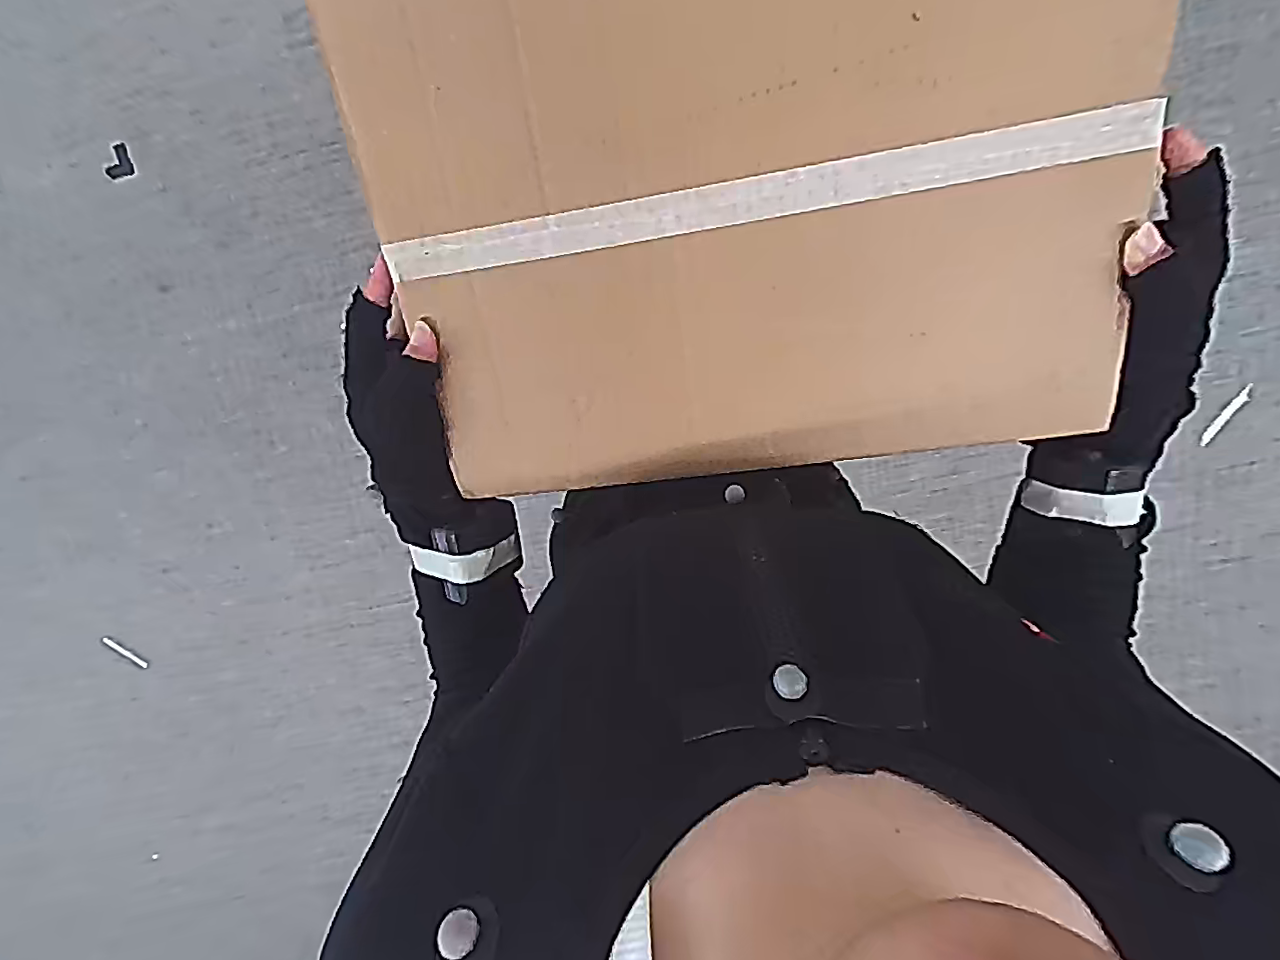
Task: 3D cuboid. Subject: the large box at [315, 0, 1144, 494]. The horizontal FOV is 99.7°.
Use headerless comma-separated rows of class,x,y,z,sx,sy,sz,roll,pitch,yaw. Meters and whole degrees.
large box,0.062,-0.210,0.437,0.408,0.320,0.320,-6,112,8
